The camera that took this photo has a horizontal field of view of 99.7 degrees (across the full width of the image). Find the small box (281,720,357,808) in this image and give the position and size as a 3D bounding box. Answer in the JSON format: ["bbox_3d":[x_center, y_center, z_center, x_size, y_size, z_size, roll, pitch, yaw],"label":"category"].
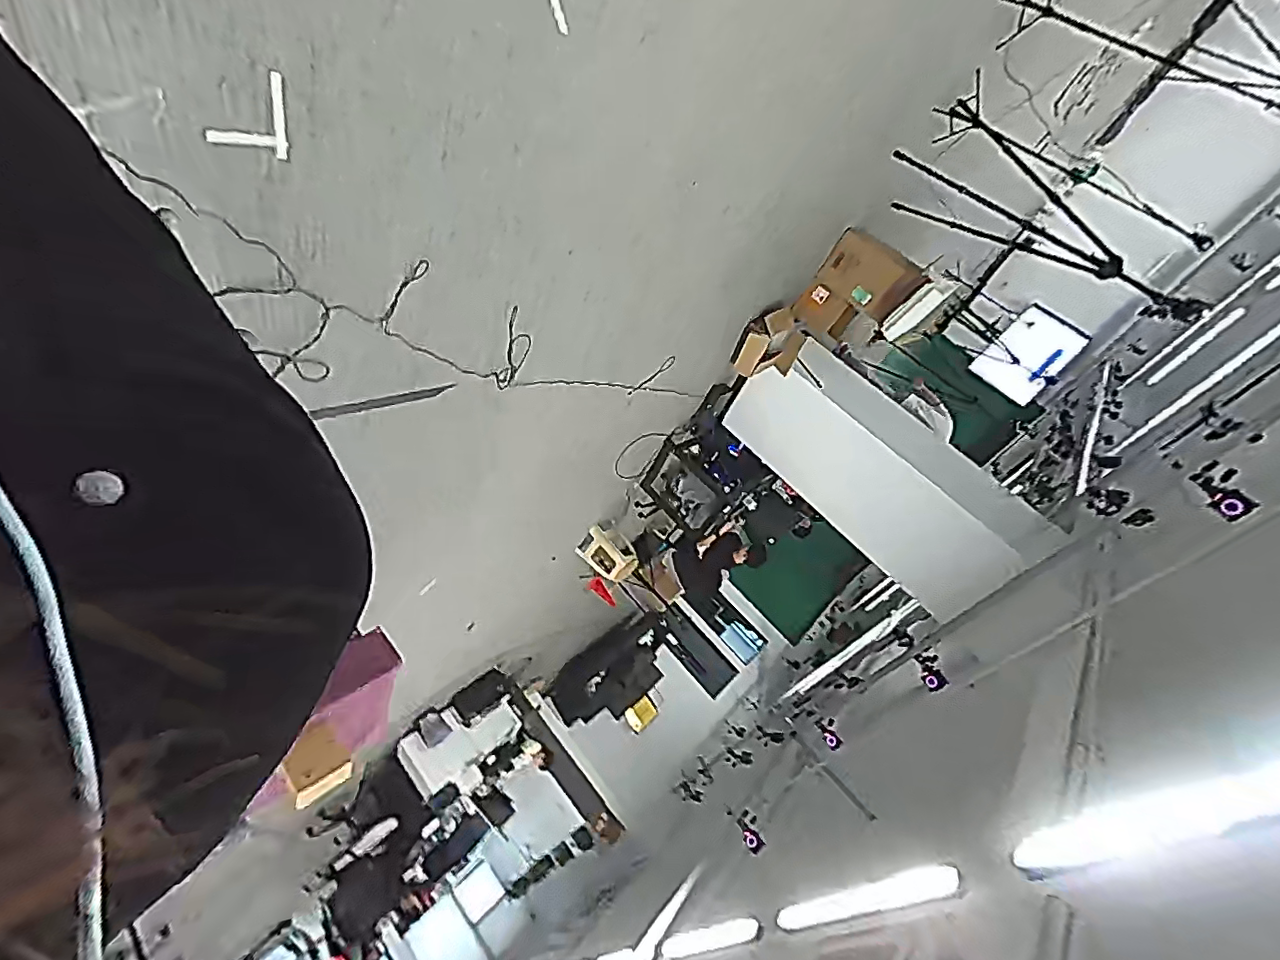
[{"bbox_3d":[-1.093,0.958,1.835,0.179,0.176,0.168,-24,153,-47],"label":"small box"}]
